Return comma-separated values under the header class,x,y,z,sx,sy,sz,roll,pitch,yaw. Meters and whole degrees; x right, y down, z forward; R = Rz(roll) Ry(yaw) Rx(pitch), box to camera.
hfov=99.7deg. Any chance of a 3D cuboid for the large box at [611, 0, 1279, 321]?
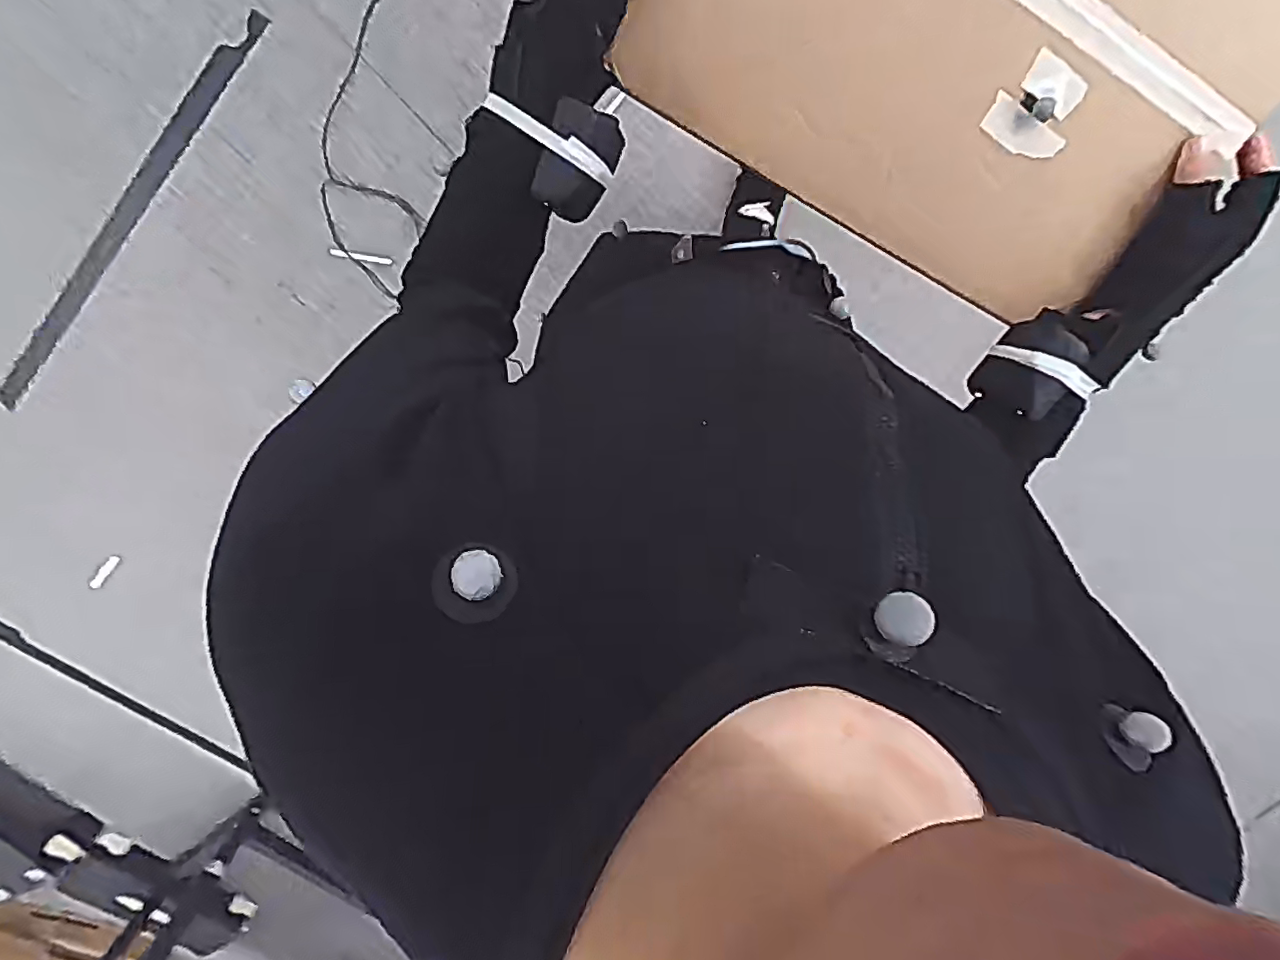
class,x,y,z,sx,sy,sz,roll,pitch,yaw
large box,0.224,-0.402,0.458,0.408,0.320,0.320,23,124,-13
